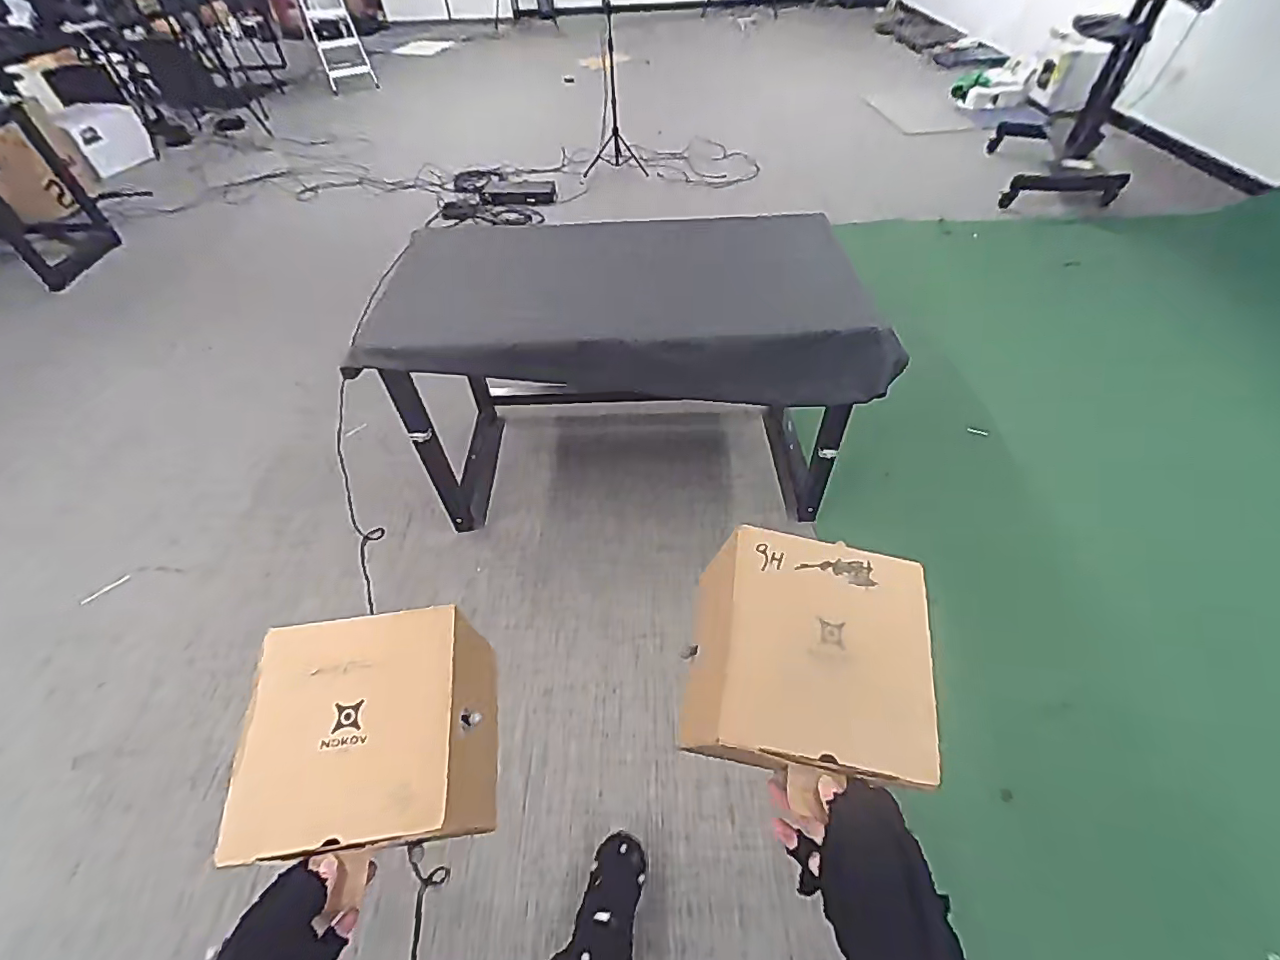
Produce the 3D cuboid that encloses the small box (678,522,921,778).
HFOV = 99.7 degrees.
[{"bbox_3d":[0.136,0.163,0.508,0.168,0.176,0.179,12,63,-1],"label":"small box"}]

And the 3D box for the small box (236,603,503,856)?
[{"bbox_3d":[-0.231,0.238,0.518,0.168,0.176,0.179,-7,58,-4],"label":"small box"}]
